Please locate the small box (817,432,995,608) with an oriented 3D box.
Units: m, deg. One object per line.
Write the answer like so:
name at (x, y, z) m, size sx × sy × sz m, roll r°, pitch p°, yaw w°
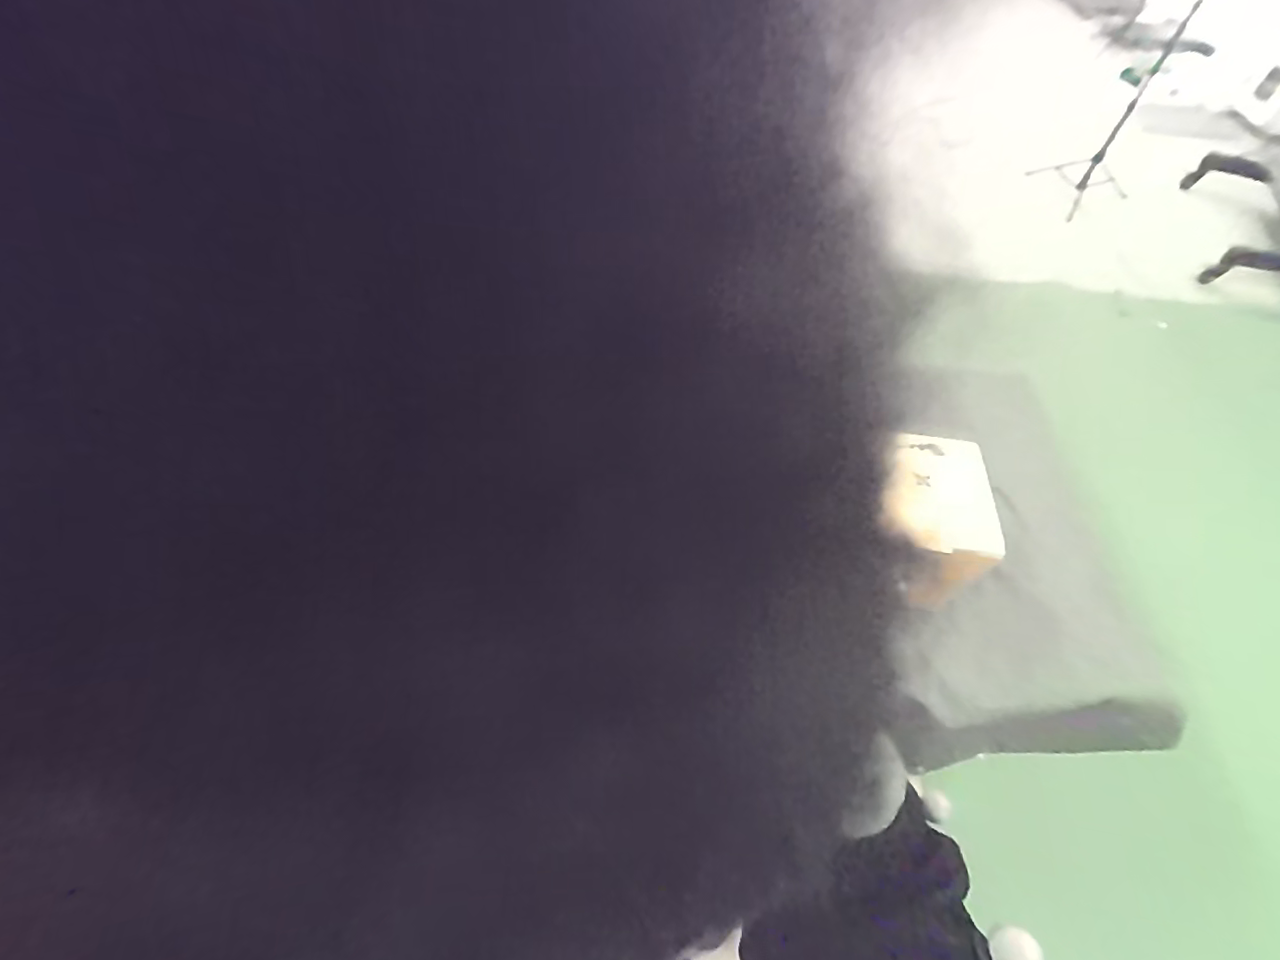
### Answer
small box at (0.353, 0.061, 0.755) m, size 0.168 × 0.176 × 0.179 m, roll 9°, pitch 55°, yaw 5°
